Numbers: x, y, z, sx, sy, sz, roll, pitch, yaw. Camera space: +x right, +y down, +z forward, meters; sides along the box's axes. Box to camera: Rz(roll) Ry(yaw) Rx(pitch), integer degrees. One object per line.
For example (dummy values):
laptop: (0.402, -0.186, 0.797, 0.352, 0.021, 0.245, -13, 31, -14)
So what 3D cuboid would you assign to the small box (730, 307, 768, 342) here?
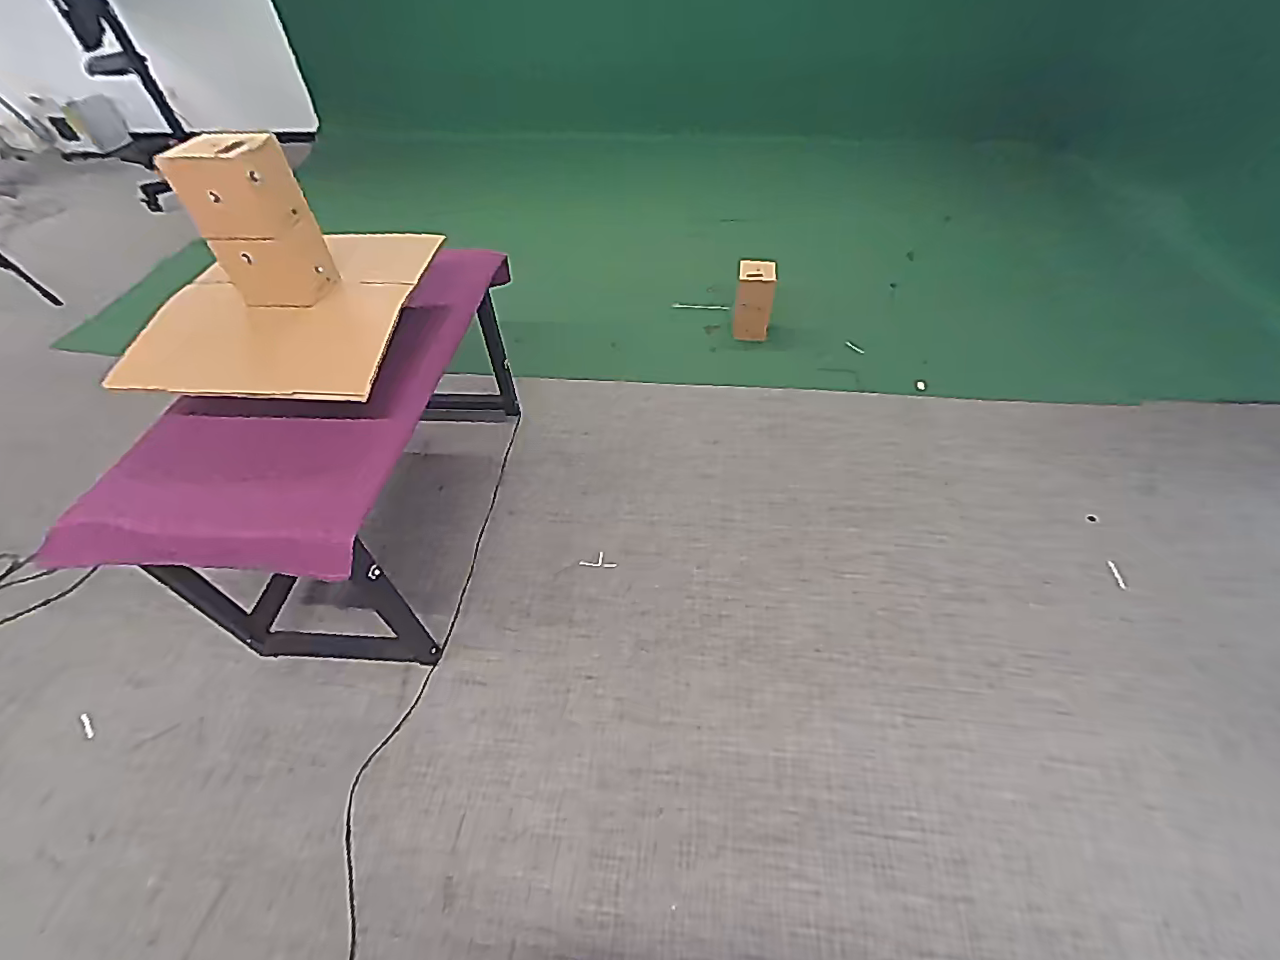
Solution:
small box: (0.543, -0.816, 2.711, 0.168, 0.176, 0.179, 5, 50, 5)

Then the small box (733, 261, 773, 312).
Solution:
small box: (0.540, -0.922, 2.586, 0.168, 0.176, 0.179, 6, 50, 6)

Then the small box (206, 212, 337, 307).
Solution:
small box: (-0.894, -0.542, 1.332, 0.179, 0.176, 0.168, 2, 48, 3)
